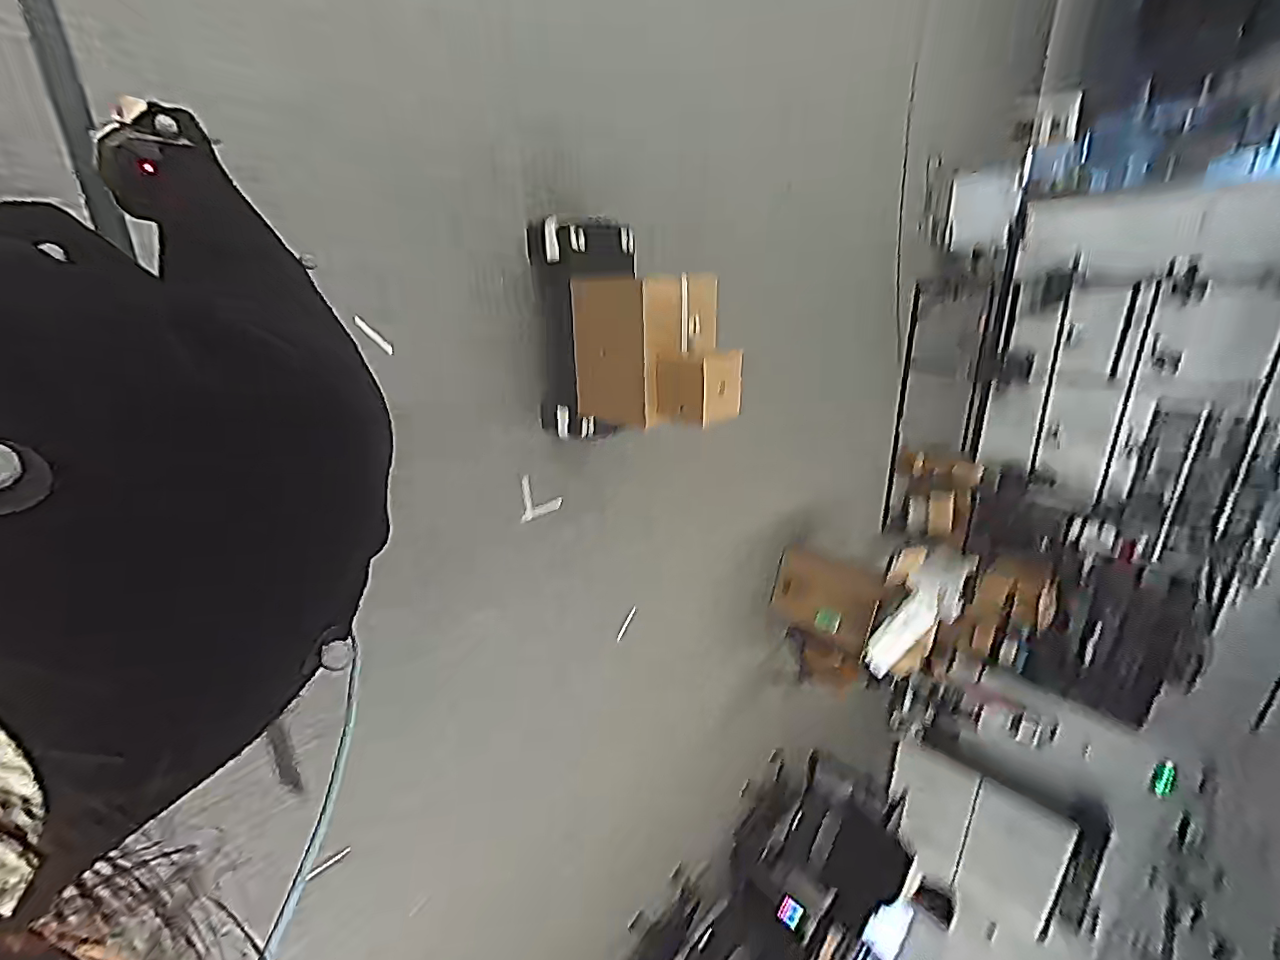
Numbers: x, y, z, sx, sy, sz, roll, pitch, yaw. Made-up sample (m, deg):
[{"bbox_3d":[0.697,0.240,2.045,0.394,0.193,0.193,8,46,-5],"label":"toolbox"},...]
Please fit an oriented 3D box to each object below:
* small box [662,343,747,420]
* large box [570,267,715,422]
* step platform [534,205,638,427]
[{"bbox_3d":[0.173,-0.276,1.482,0.168,0.176,0.179,-21,117,-40],"label":"small box"},{"bbox_3d":[0.015,-0.417,1.635,0.320,0.320,0.408,-22,117,-41],"label":"large box"},{"bbox_3d":[-0.168,-0.515,1.764,0.286,0.204,0.684,-15,112,-43],"label":"step platform"}]
